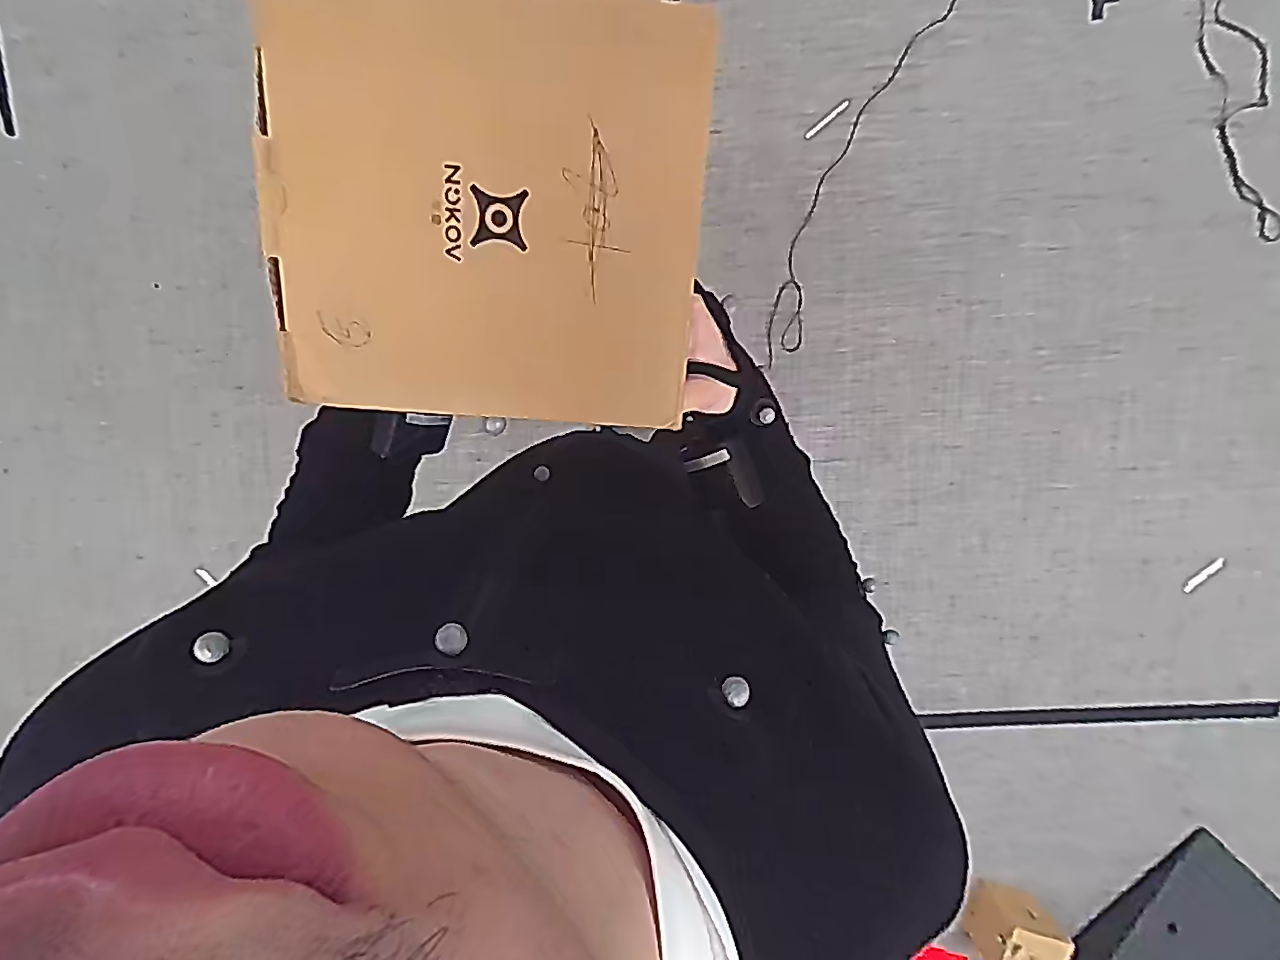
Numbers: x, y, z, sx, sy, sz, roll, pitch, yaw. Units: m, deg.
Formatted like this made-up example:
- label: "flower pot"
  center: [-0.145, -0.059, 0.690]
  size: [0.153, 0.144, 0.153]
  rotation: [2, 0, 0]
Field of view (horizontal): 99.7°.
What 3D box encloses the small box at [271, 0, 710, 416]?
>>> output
- label: "small box"
  center: [-0.069, -0.135, 0.312]
  size: [0.179, 0.176, 0.168]
  rotation: [3, 105, -6]
